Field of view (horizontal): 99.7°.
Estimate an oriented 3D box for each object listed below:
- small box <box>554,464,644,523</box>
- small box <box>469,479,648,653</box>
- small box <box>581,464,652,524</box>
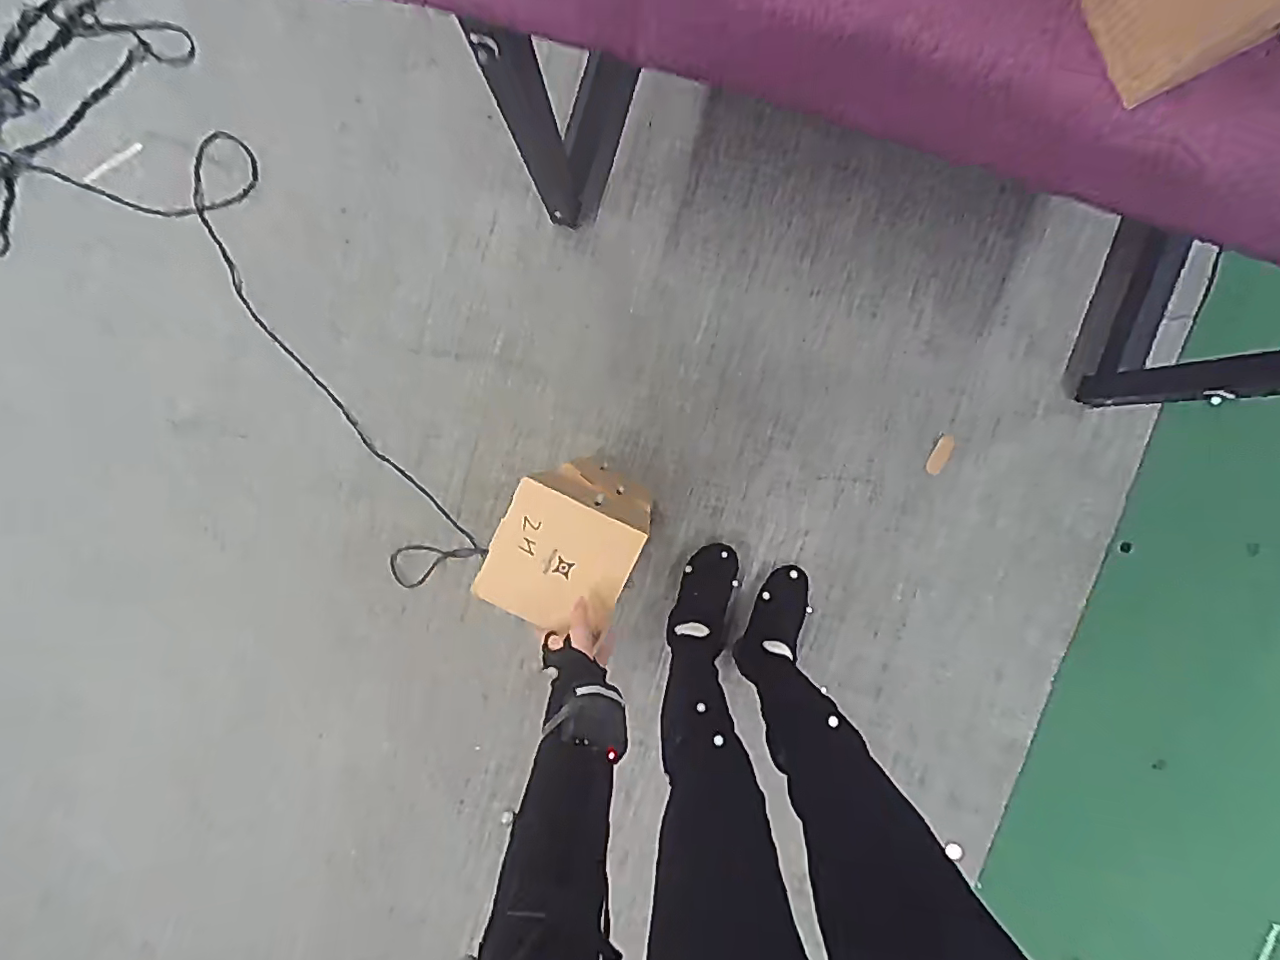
[{"bbox_3d":[-0.103,0.090,0.917,0.168,0.176,0.179,39,93,0],"label":"small box"},{"bbox_3d":[-0.100,0.105,0.752,0.179,0.176,0.168,27,93,1],"label":"small box"},{"bbox_3d":[-0.091,0.079,1.078,0.168,0.176,0.179,33,95,-1],"label":"small box"}]
